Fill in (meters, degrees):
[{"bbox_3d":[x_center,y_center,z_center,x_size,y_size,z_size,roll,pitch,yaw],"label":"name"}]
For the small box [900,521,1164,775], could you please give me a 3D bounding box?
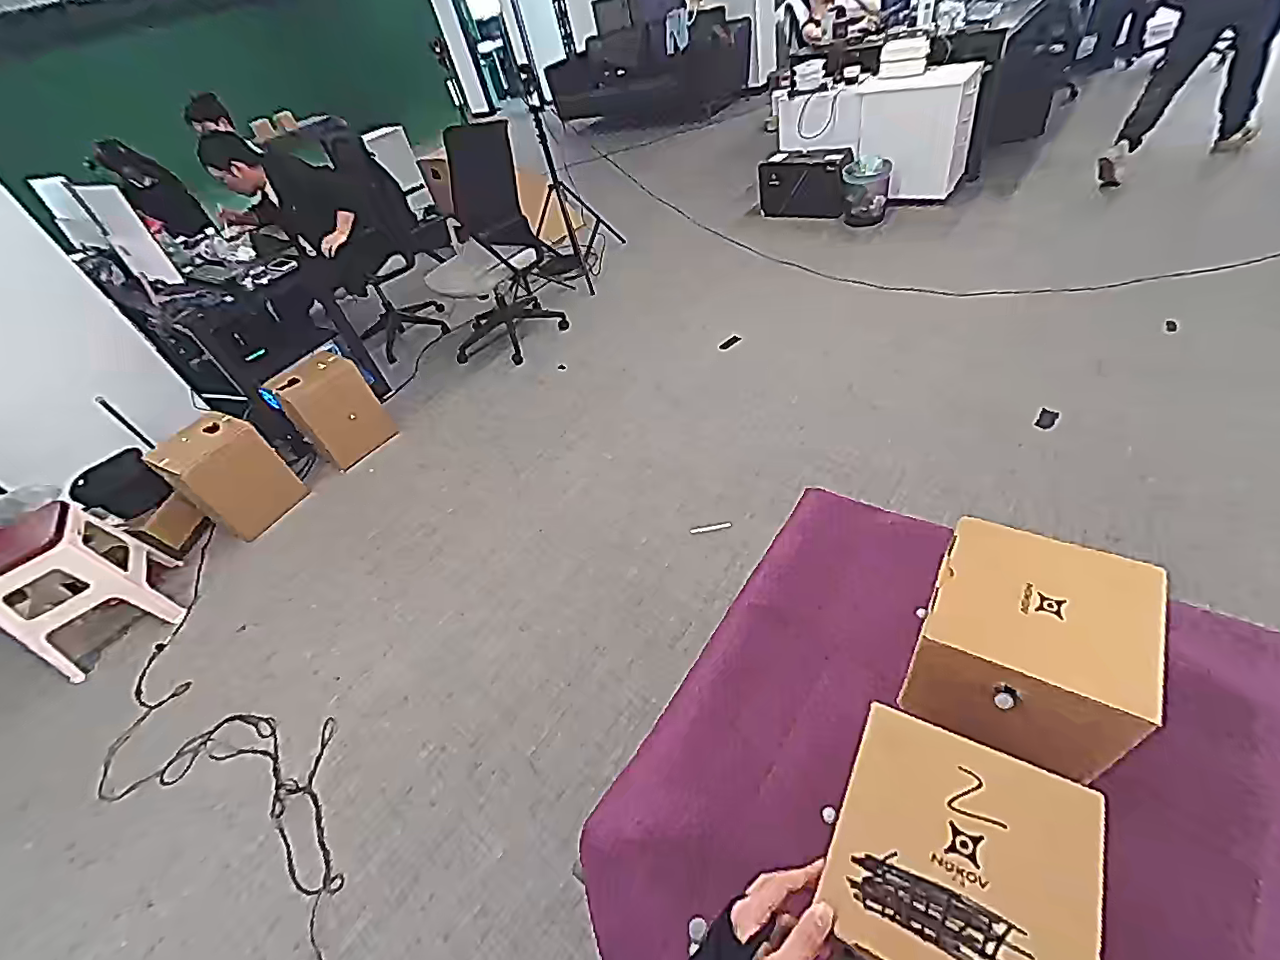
[{"bbox_3d":[0.394,0.176,0.566,0.179,0.176,0.168,18,53,31],"label":"small box"}]
